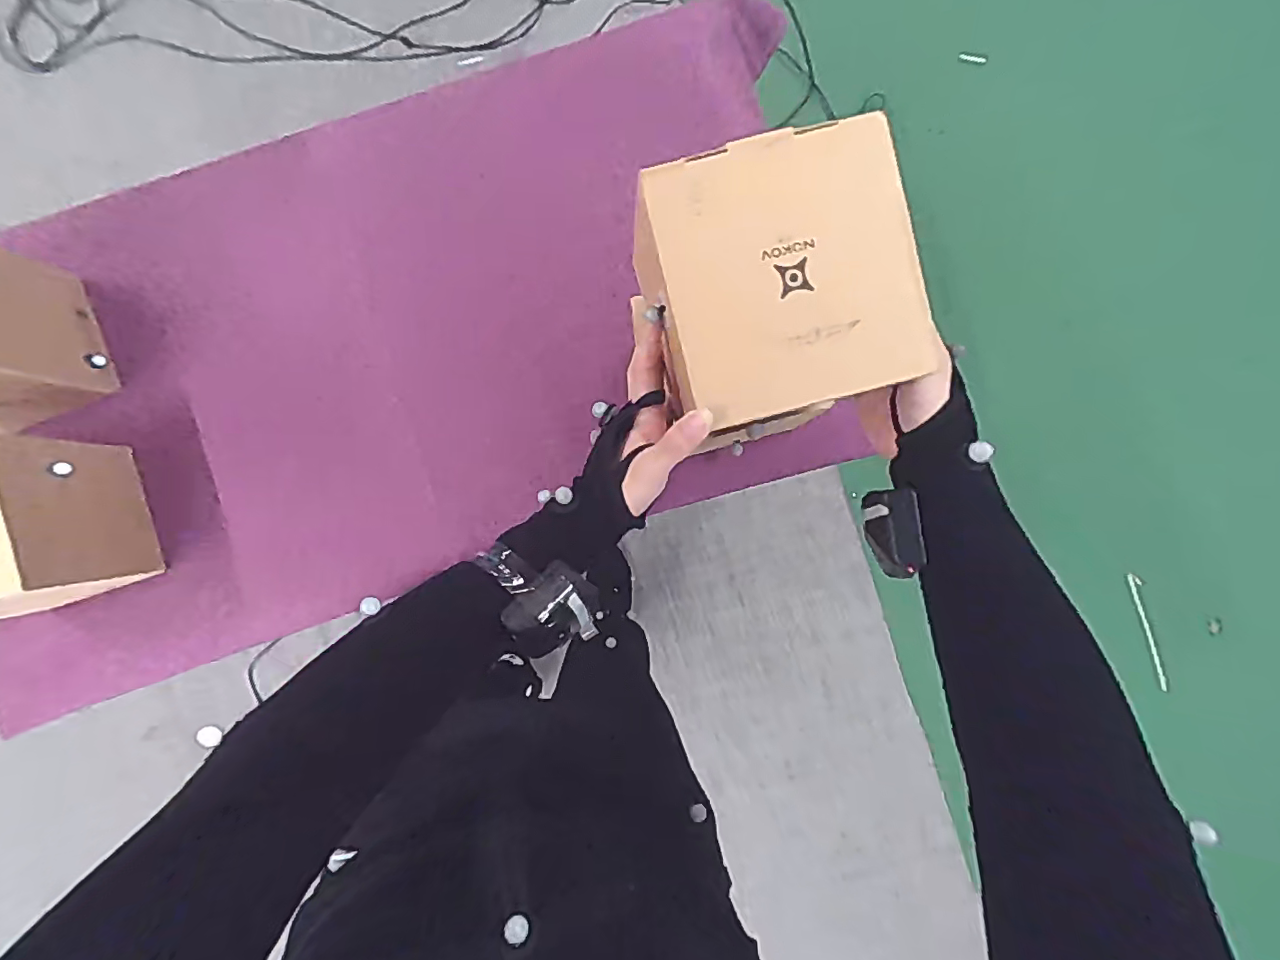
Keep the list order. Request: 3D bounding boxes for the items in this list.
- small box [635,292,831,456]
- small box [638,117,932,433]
[{"bbox_3d":[0.096,-0.131,0.638,0.179,0.176,0.168,-14,87,0],"label":"small box"},{"bbox_3d":[0.096,-0.141,0.437,0.168,0.176,0.179,-14,94,-1],"label":"small box"}]
